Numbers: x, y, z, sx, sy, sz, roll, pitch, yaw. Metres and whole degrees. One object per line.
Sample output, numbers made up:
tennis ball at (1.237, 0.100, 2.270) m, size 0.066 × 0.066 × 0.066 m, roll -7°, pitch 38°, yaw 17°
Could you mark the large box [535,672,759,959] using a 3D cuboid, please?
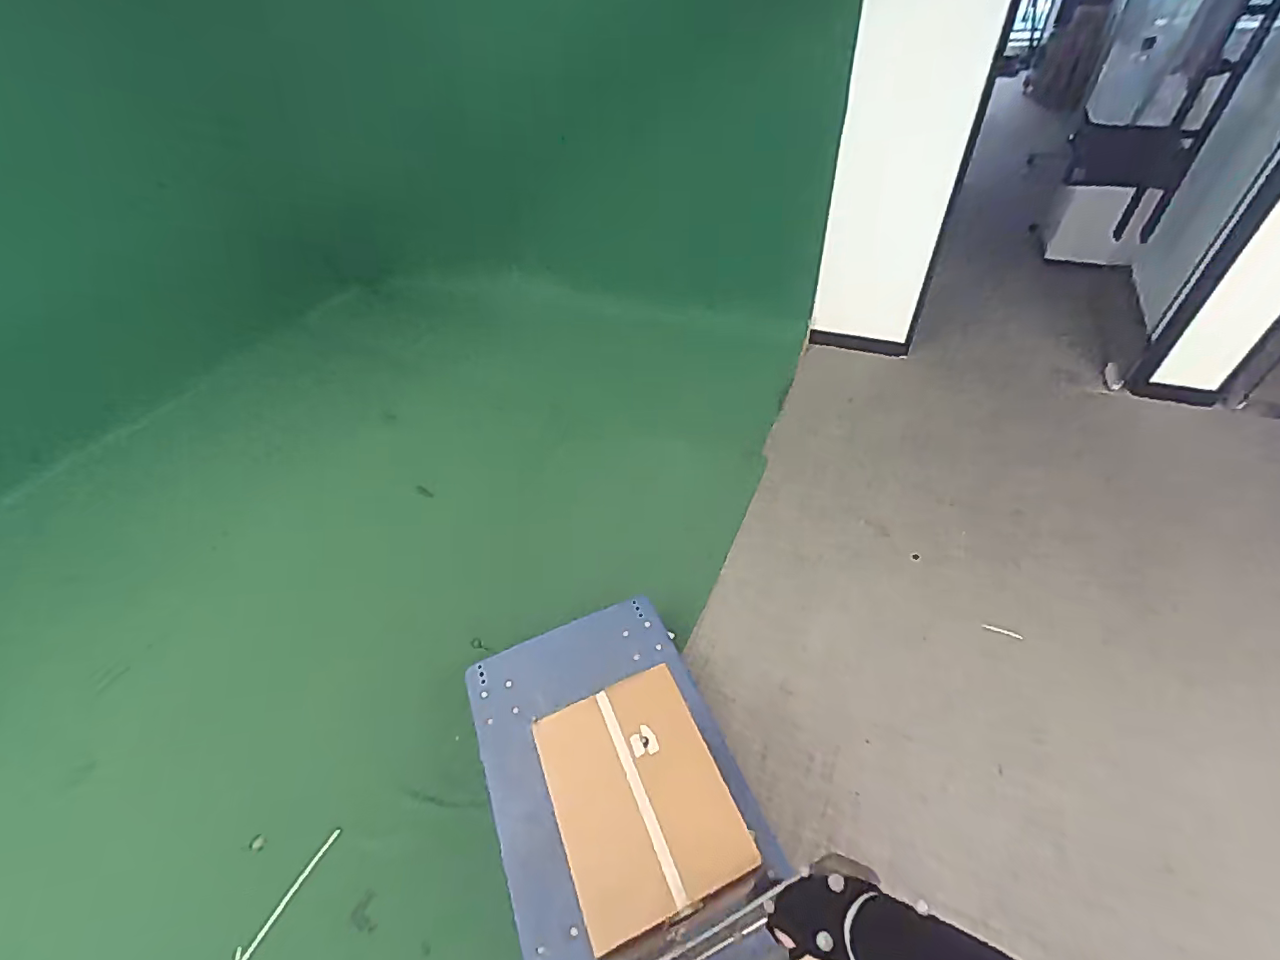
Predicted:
large box at (0.010, 0.705, 1.145) m, size 0.320 × 0.320 × 0.408 m, roll -20°, pitch 46°, yaw -13°
